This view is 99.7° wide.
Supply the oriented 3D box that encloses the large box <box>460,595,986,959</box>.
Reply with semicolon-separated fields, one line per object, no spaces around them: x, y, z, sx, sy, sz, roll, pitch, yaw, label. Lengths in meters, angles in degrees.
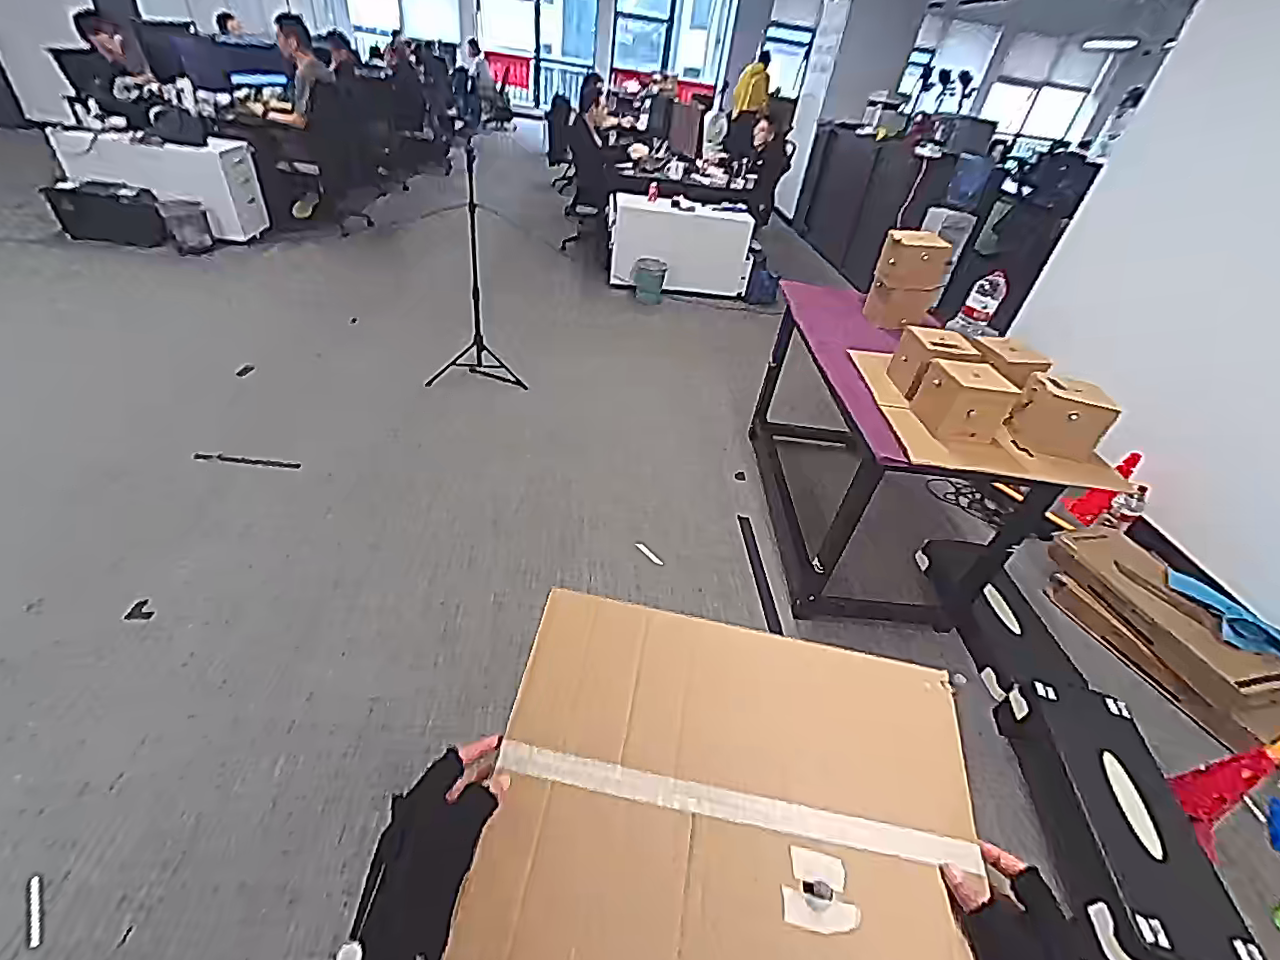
0.071;0.363;0.587;0.408;0.320;0.320;12;53;2;large box
